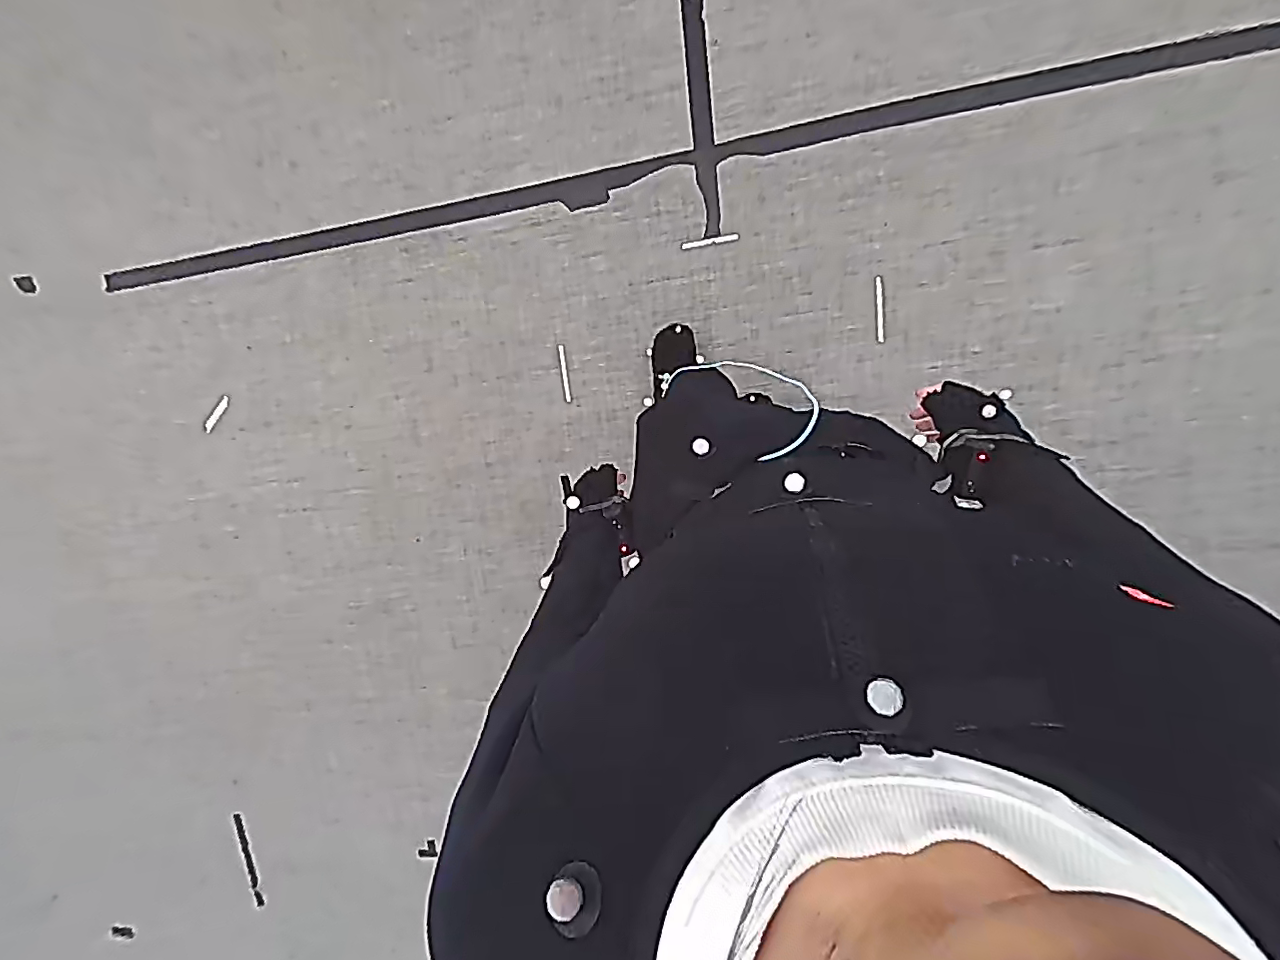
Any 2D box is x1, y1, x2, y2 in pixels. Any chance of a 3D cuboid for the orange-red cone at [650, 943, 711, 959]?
[{"bbox_3d":[0.106,1.643,1.609,0.199,0.360,0.198,0,100,9],"label":"orange-red cone"}]
